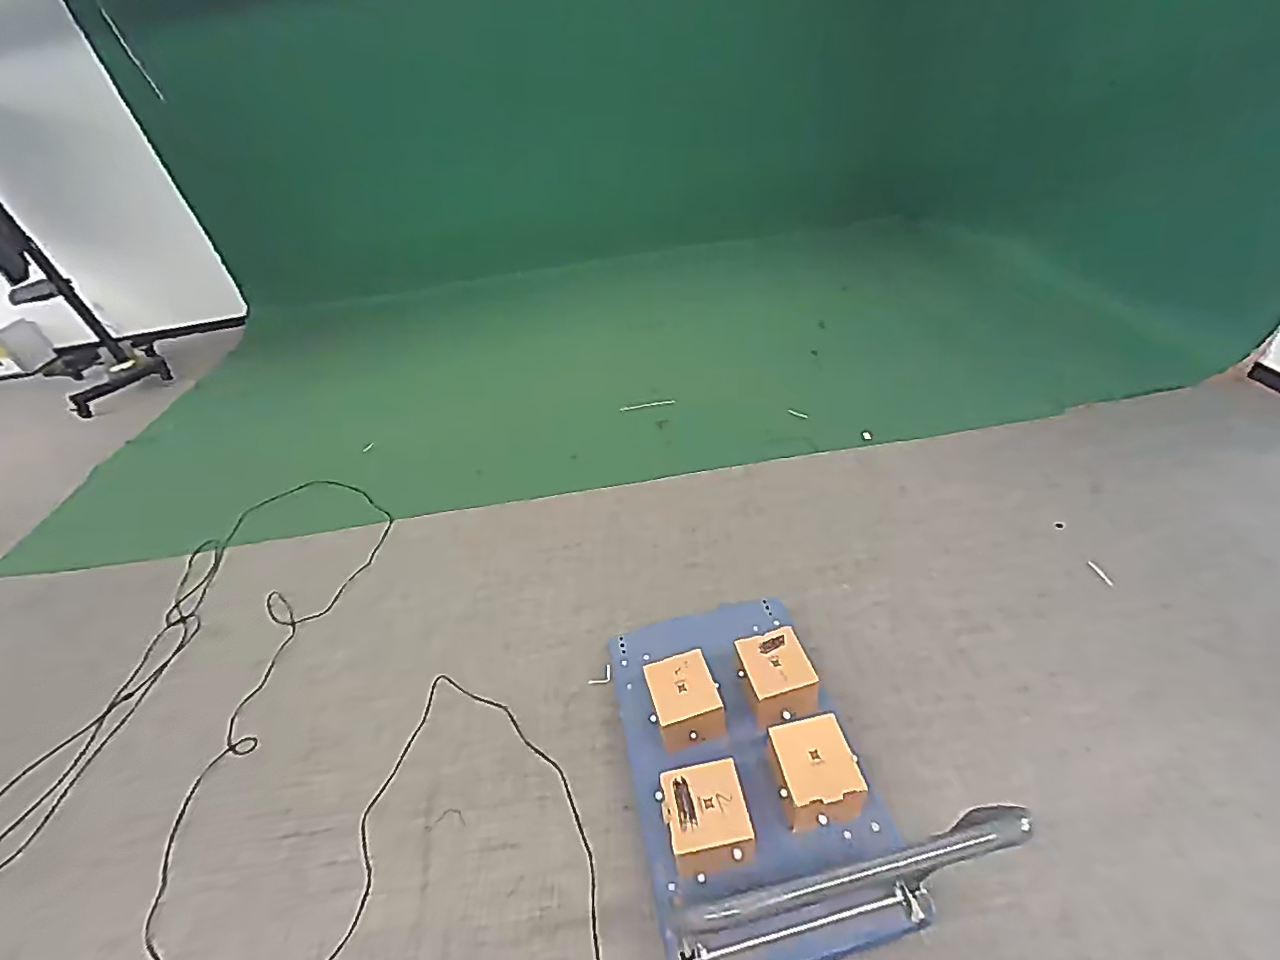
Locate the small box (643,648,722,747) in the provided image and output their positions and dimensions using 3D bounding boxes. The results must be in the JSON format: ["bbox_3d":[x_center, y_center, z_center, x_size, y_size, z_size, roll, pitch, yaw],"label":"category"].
[{"bbox_3d":[0.116,0.588,1.448,0.168,0.176,0.179,-15,41,-7],"label":"small box"}]

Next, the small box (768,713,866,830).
[{"bbox_3d":[0.408,0.691,1.282,0.168,0.176,0.179,-12,40,-3],"label":"small box"}]

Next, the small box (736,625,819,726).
[{"bbox_3d":[0.365,0.531,1.468,0.168,0.176,0.179,-14,42,-5],"label":"small box"}]
